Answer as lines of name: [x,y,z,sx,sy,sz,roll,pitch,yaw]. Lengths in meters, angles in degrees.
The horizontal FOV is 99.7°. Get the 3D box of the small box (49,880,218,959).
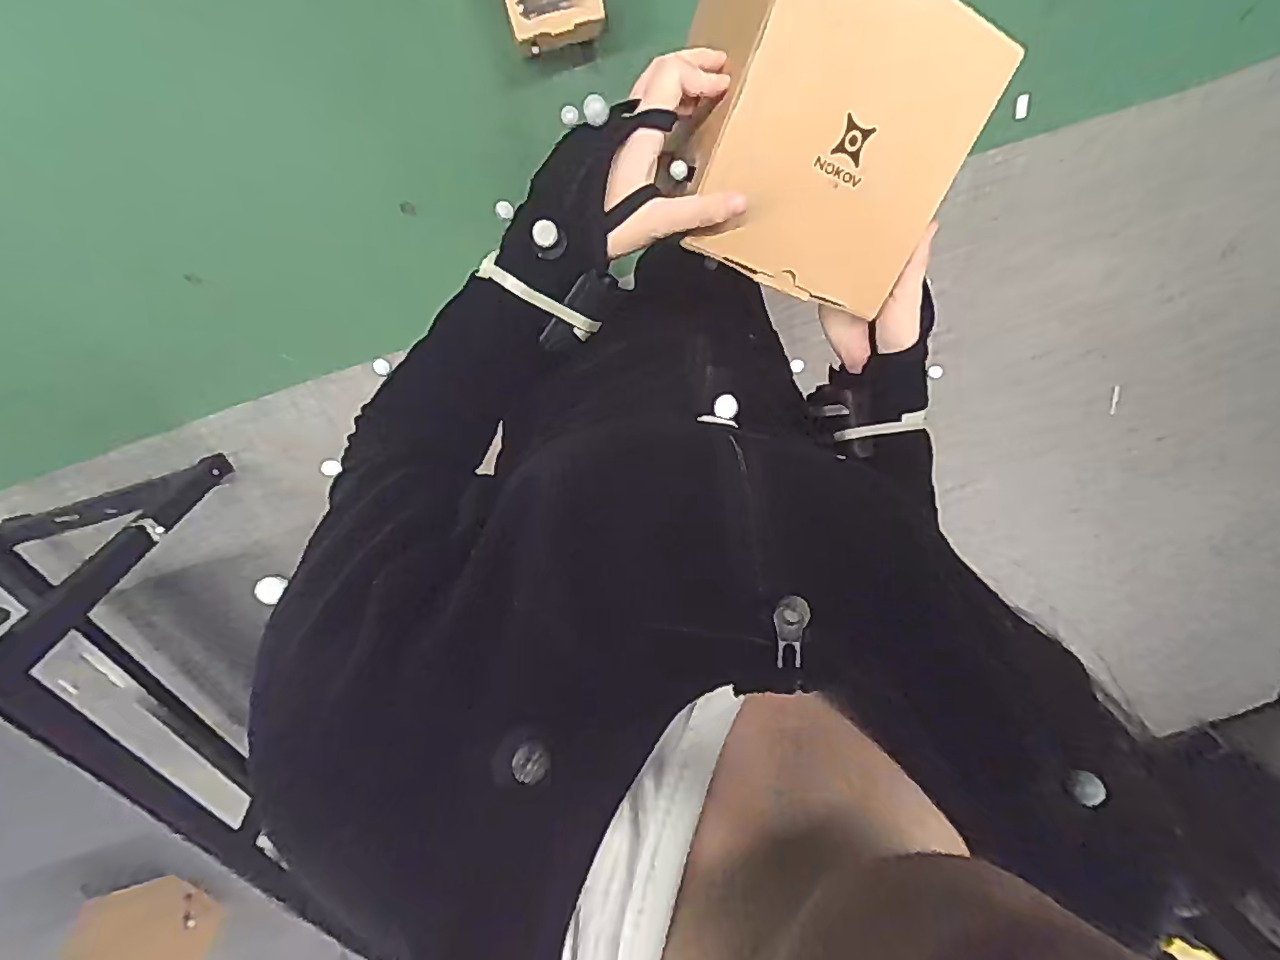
small box: [-0.948,0.887,1.000,0.179,0.176,0.168,-16,121,-1]
